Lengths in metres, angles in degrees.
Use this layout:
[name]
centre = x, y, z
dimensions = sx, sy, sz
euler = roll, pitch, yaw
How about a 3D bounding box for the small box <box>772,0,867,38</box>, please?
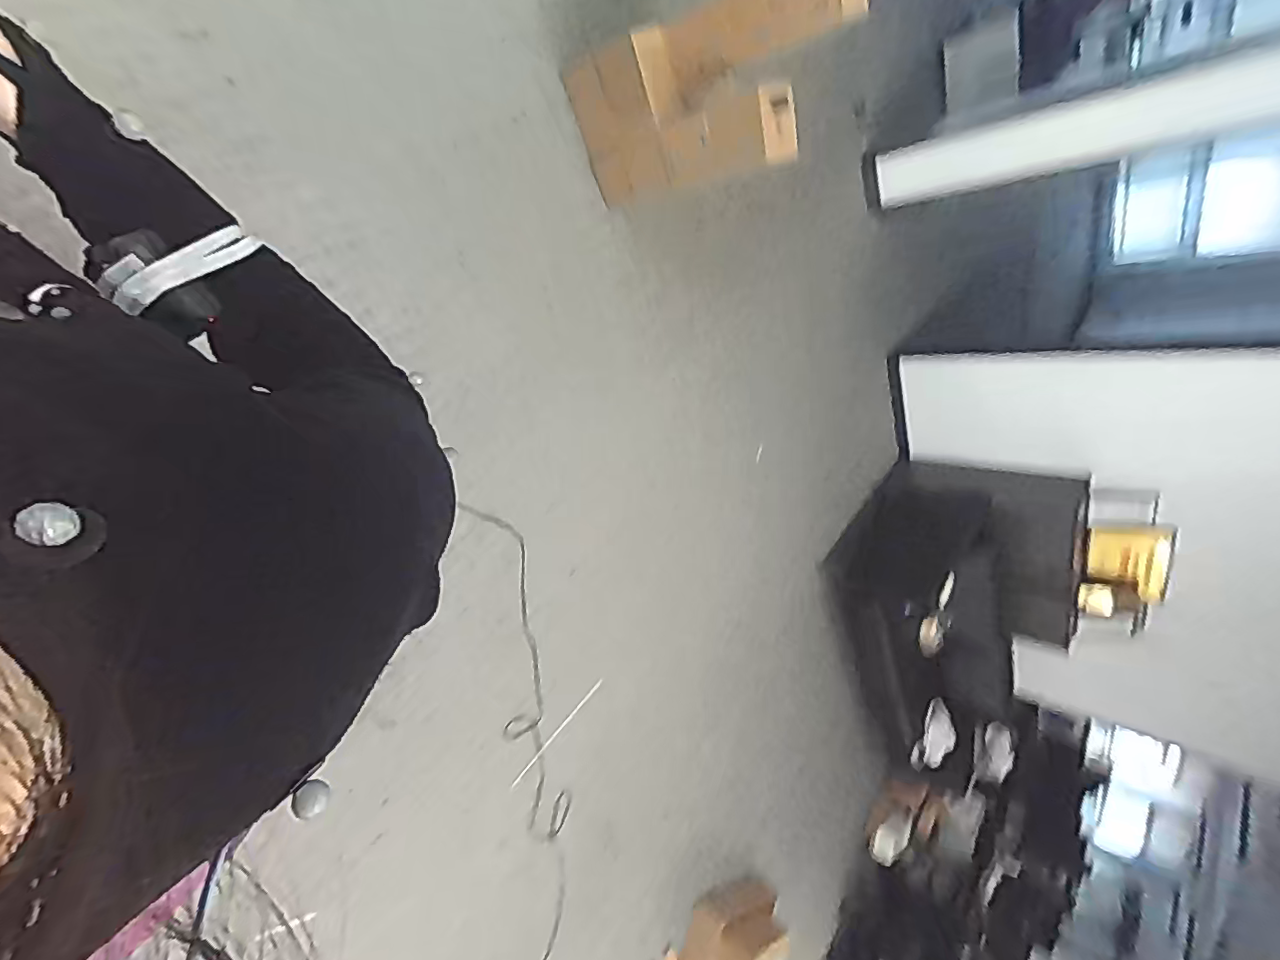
[small box]
centre = 0.429, -1.215, 1.315
dimensions = 0.168, 0.176, 0.179
euler = -46, 127, -33
